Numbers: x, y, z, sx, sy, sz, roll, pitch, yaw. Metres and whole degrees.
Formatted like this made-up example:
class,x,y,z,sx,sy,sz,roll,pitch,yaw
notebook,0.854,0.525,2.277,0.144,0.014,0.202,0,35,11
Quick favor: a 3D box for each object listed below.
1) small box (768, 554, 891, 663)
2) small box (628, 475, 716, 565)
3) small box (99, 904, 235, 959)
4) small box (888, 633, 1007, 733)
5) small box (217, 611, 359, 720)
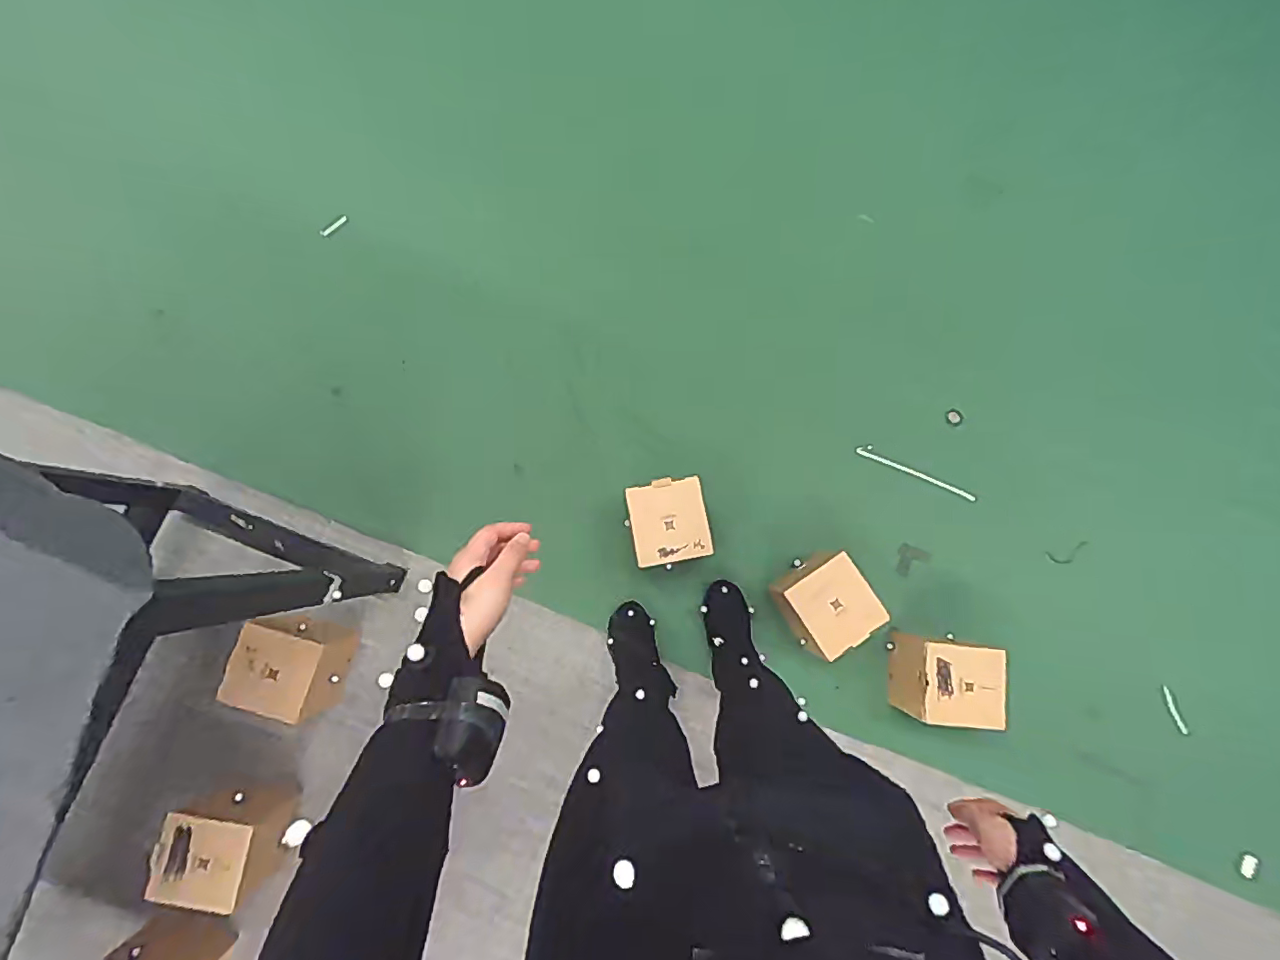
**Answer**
class,x,y,z,sx,sy,sz,roll,pitch,yaw
small box,0.419,0.280,1.222,0.168,0.176,0.179,-33,84,-5
small box,0.066,0.097,1.236,0.168,0.176,0.179,-9,83,-3
small box,-0.991,1.026,1.105,0.179,0.176,0.168,26,84,2
small box,0.678,0.444,1.208,0.179,0.176,0.168,6,83,-1
small box,-0.753,0.393,1.180,0.179,0.176,0.168,17,83,1
